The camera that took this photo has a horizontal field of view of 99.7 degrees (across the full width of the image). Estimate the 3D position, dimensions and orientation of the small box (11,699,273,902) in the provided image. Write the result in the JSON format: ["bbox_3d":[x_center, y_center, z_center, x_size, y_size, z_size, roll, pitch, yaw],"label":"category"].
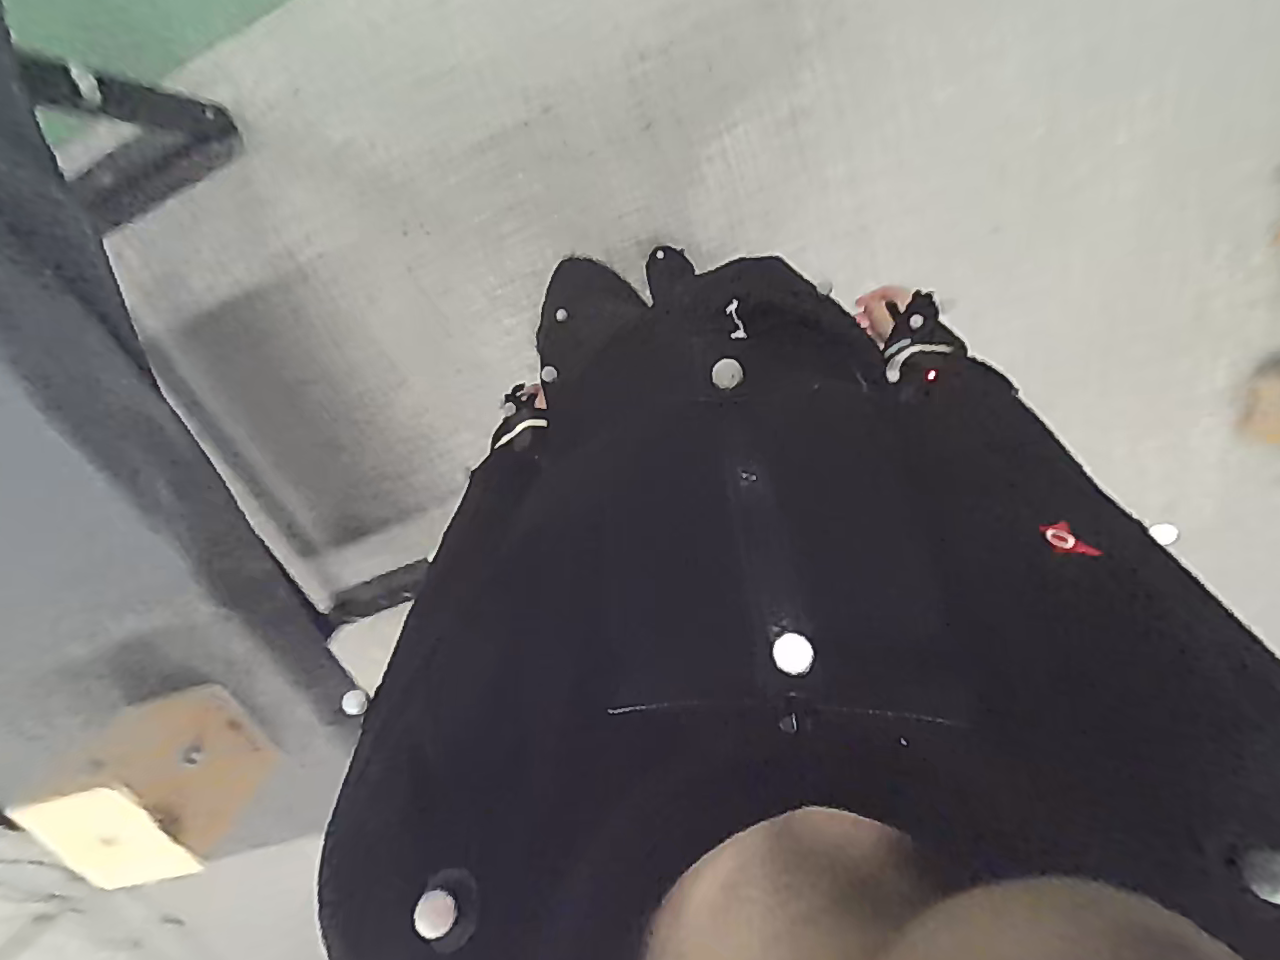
[{"bbox_3d":[-0.650,0.428,0.740,0.179,0.176,0.168,-17,111,12],"label":"small box"}]
